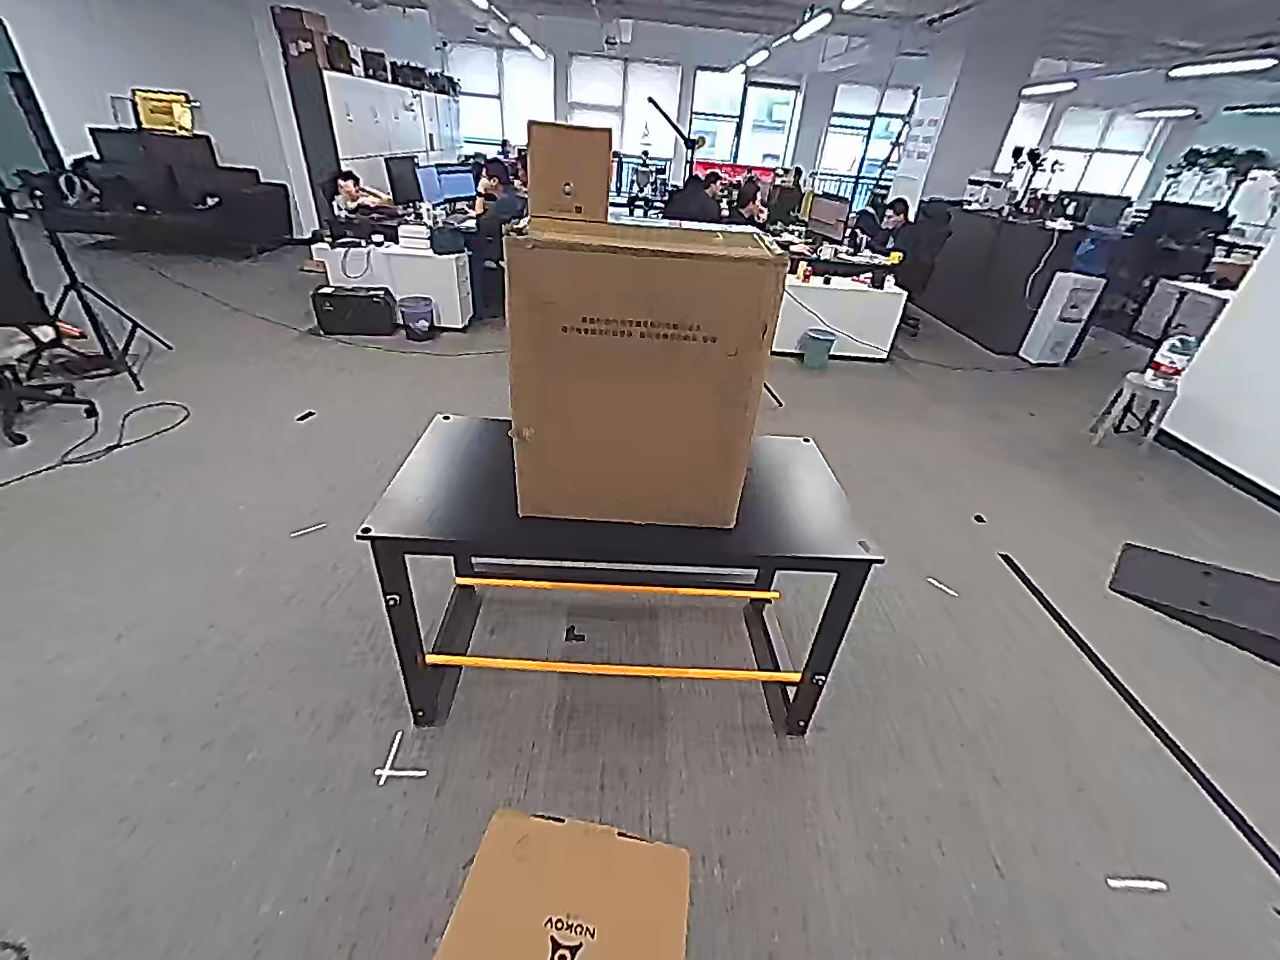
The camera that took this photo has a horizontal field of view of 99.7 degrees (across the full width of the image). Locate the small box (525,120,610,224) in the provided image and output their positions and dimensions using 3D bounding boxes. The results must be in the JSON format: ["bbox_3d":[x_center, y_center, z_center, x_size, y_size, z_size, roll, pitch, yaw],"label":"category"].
[{"bbox_3d":[-0.151,-0.651,1.148,0.168,0.176,0.179,2,31,-5],"label":"small box"}]

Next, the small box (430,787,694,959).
[{"bbox_3d":[-0.059,0.378,0.403,0.168,0.176,0.179,10,26,5],"label":"small box"}]
